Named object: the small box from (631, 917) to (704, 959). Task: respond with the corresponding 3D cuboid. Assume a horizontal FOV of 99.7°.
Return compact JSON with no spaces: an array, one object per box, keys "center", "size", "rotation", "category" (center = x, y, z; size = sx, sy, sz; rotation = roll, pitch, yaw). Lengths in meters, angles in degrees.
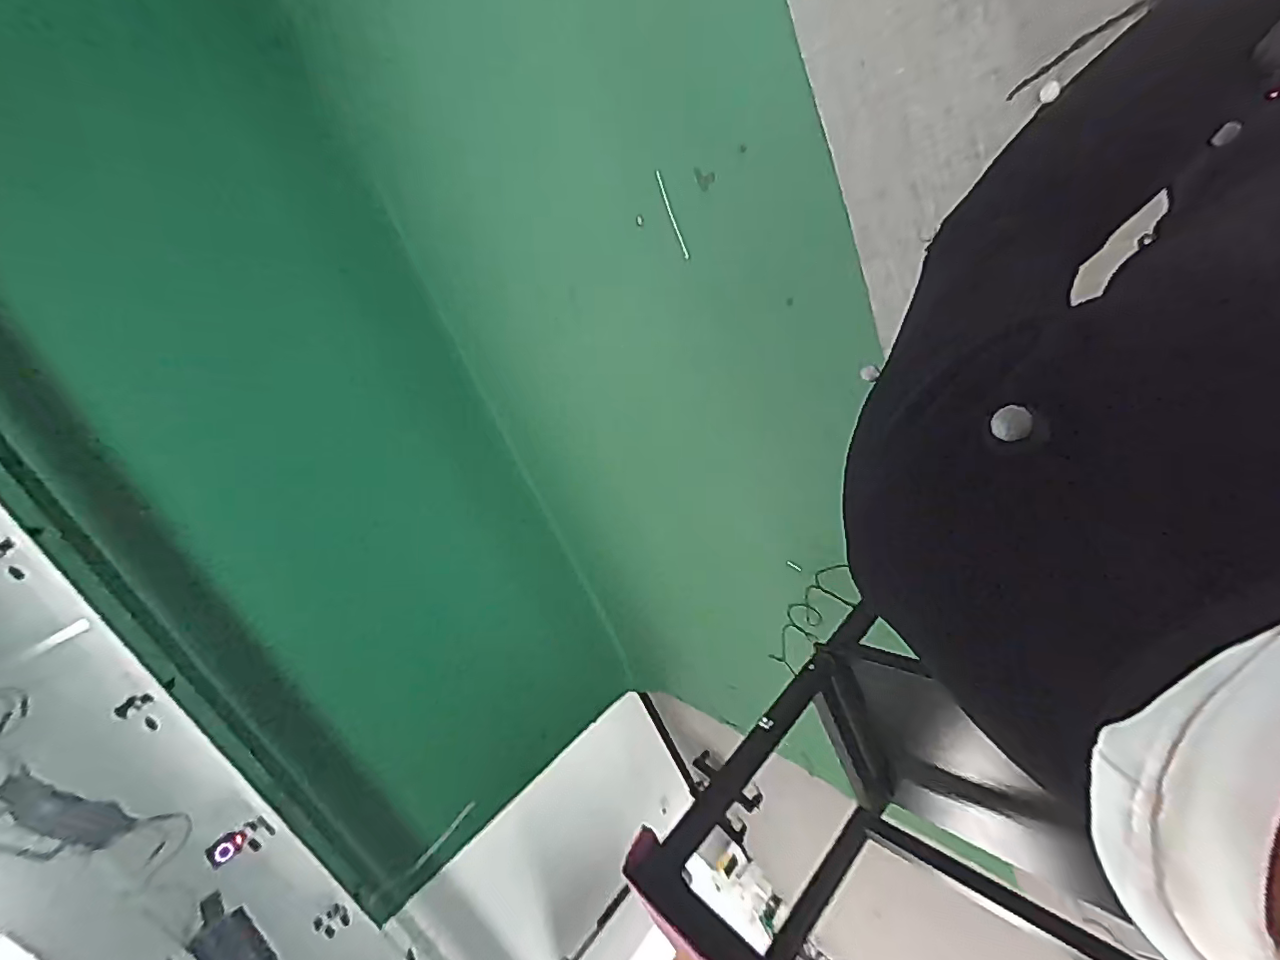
[{"center":[0.067,0.981,1.005],"size":[0.179,0.176,0.168],"rotation":[7,127,50],"category":"small box"}]
